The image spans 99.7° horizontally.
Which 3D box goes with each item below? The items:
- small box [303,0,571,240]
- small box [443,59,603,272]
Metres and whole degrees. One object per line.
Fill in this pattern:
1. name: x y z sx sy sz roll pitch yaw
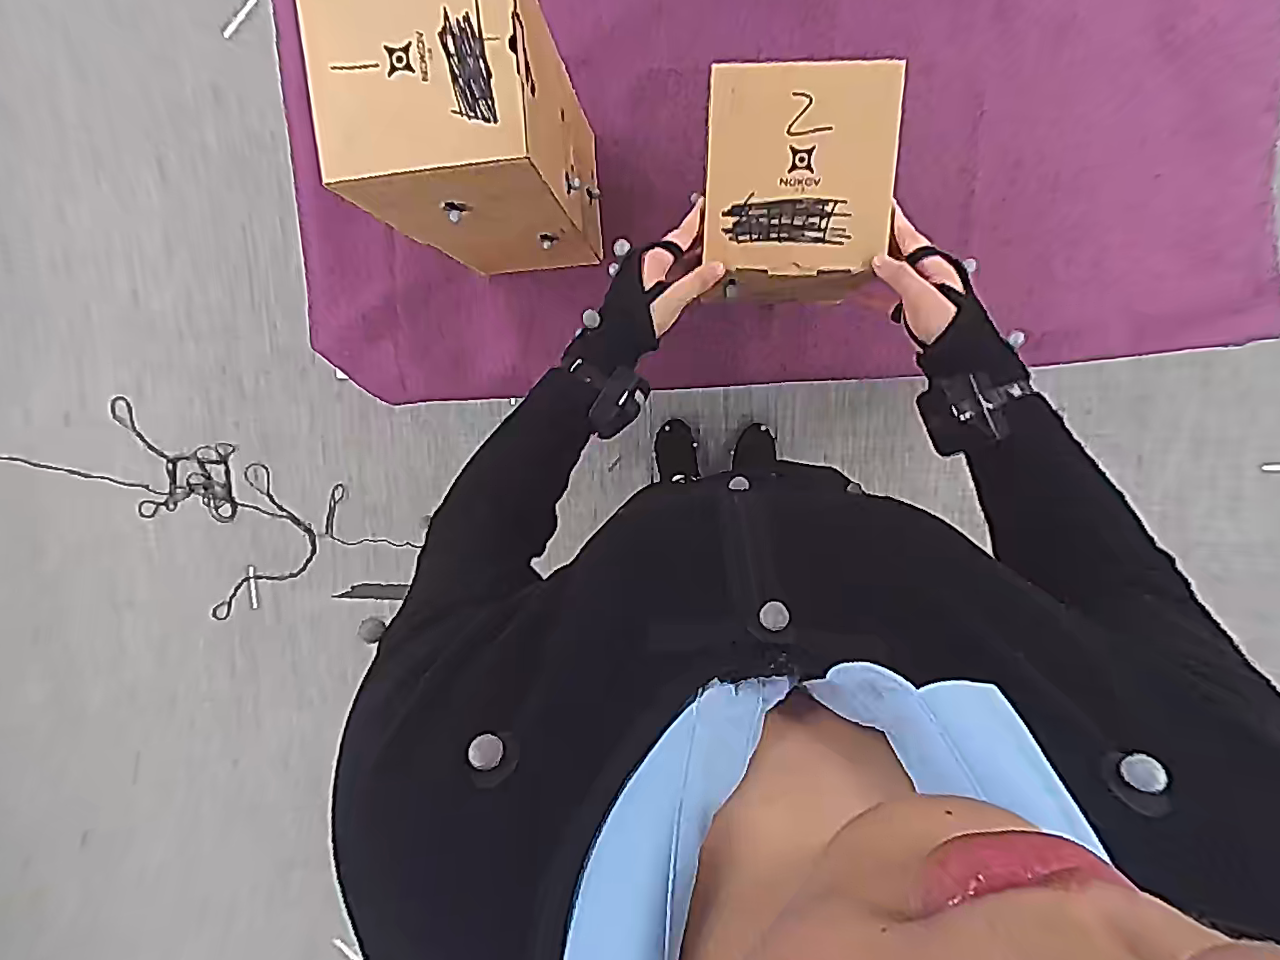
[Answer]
1. small box: -0.165 -0.337 0.498 0.179 0.176 0.168 -4 97 7
2. small box: -0.150 -0.363 0.660 0.179 0.176 0.168 -4 97 6
